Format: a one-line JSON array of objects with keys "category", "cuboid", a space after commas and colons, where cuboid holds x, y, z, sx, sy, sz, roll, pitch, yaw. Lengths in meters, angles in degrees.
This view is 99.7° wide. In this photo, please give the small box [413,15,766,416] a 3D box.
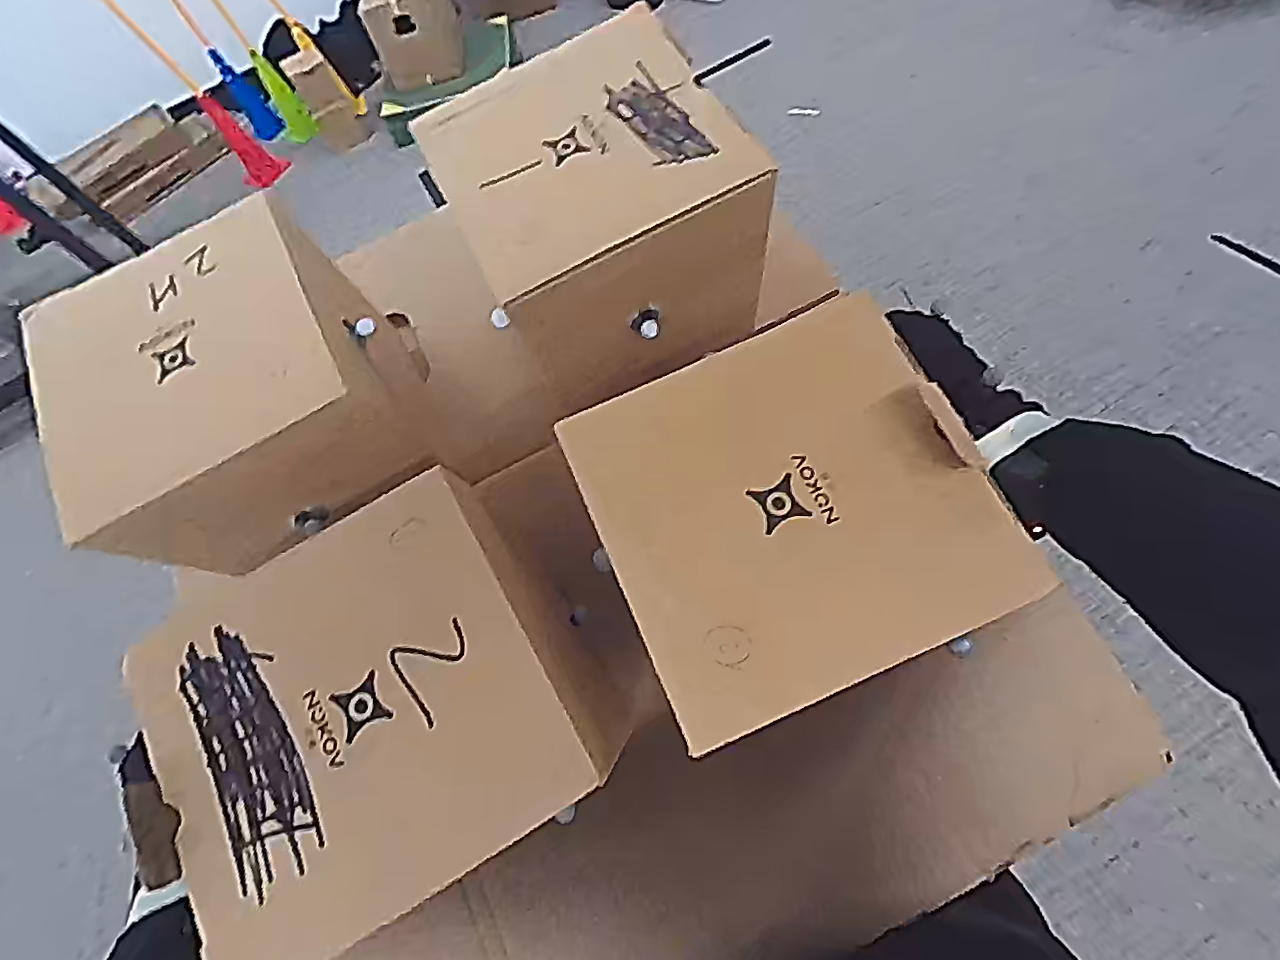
[{"category": "small box", "cuboid": [-0.029, -0.177, 0.405, 0.179, 0.176, 0.168, -27, 72, -1]}]

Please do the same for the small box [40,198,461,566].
[{"category": "small box", "cuboid": [-0.259, -0.051, 0.395, 0.168, 0.176, 0.179, -29, 71, -3]}]
